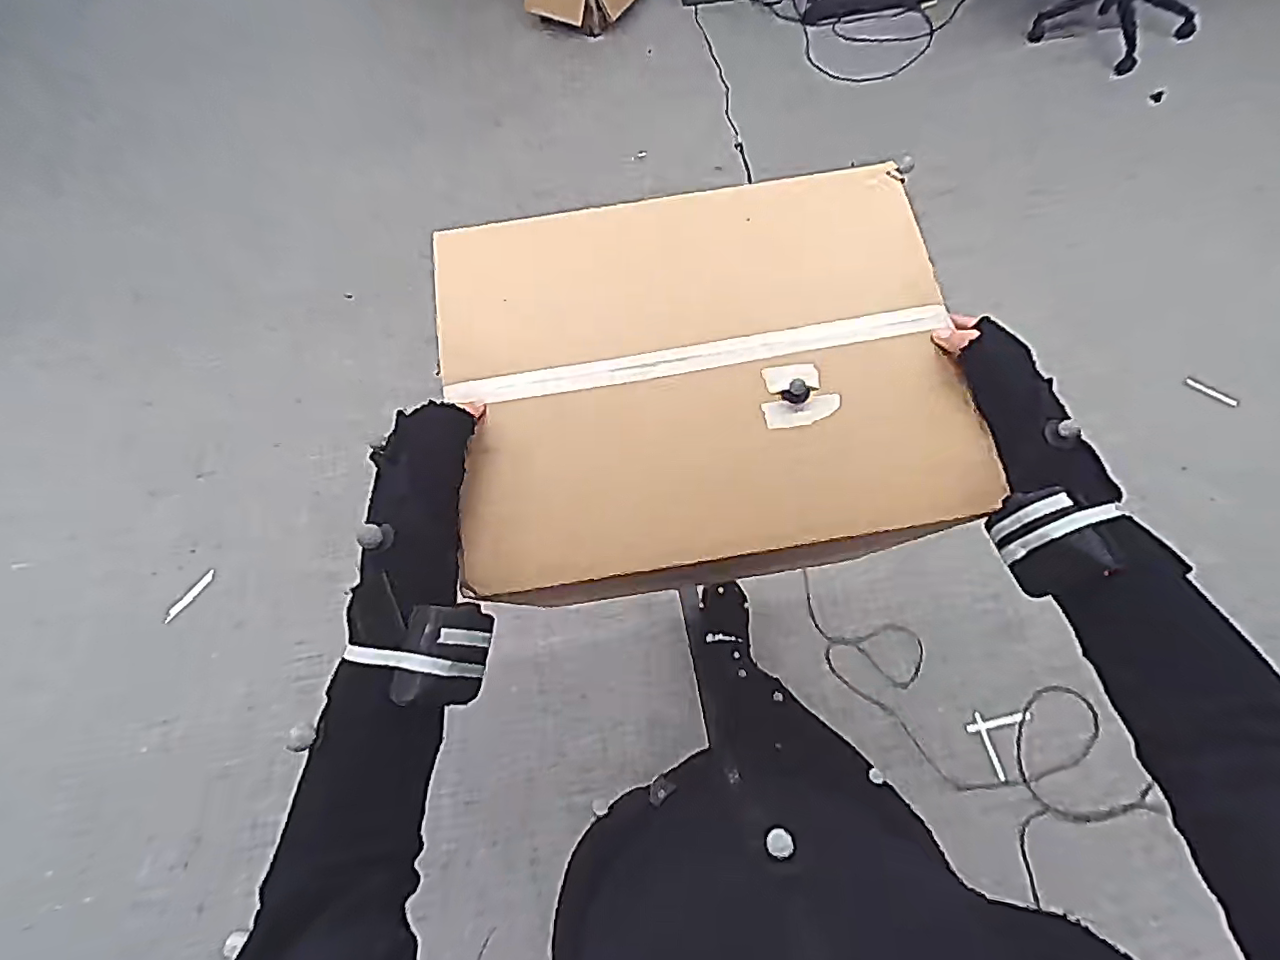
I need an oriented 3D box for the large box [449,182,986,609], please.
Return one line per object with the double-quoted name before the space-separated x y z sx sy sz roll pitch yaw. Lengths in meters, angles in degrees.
"large box" 0.051 -0.054 0.594 0.408 0.320 0.320 -10 75 -1
